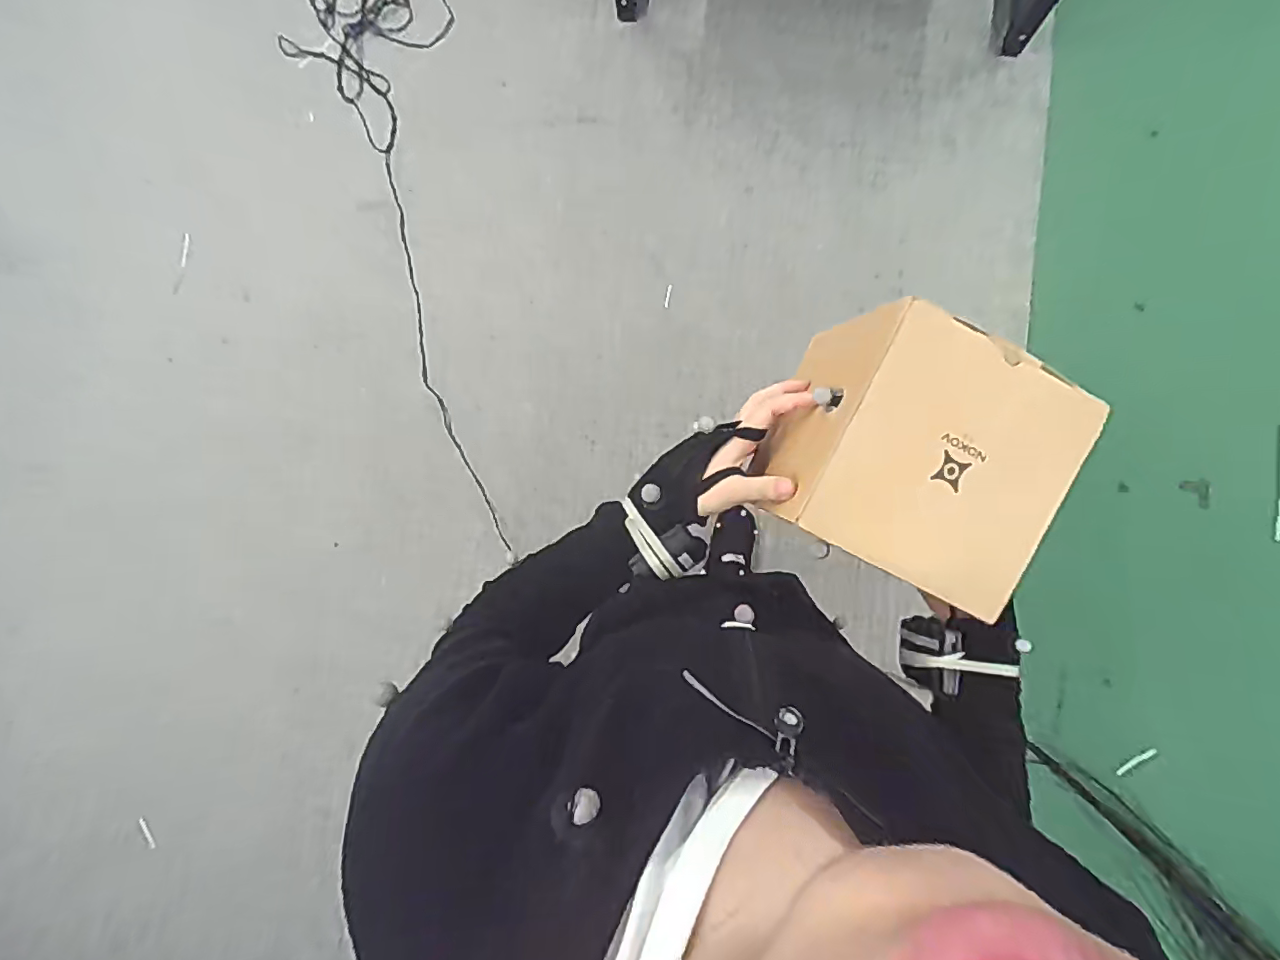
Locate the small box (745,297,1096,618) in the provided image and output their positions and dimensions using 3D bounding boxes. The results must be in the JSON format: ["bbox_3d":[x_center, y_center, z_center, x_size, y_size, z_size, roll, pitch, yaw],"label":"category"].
[{"bbox_3d":[0.205,-0.019,0.453,0.168,0.176,0.179,26,92,-6],"label":"small box"}]

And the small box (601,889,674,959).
[{"bbox_3d":[-0.008,1.168,1.341,0.168,0.176,0.179,8,85,6],"label":"small box"}]
